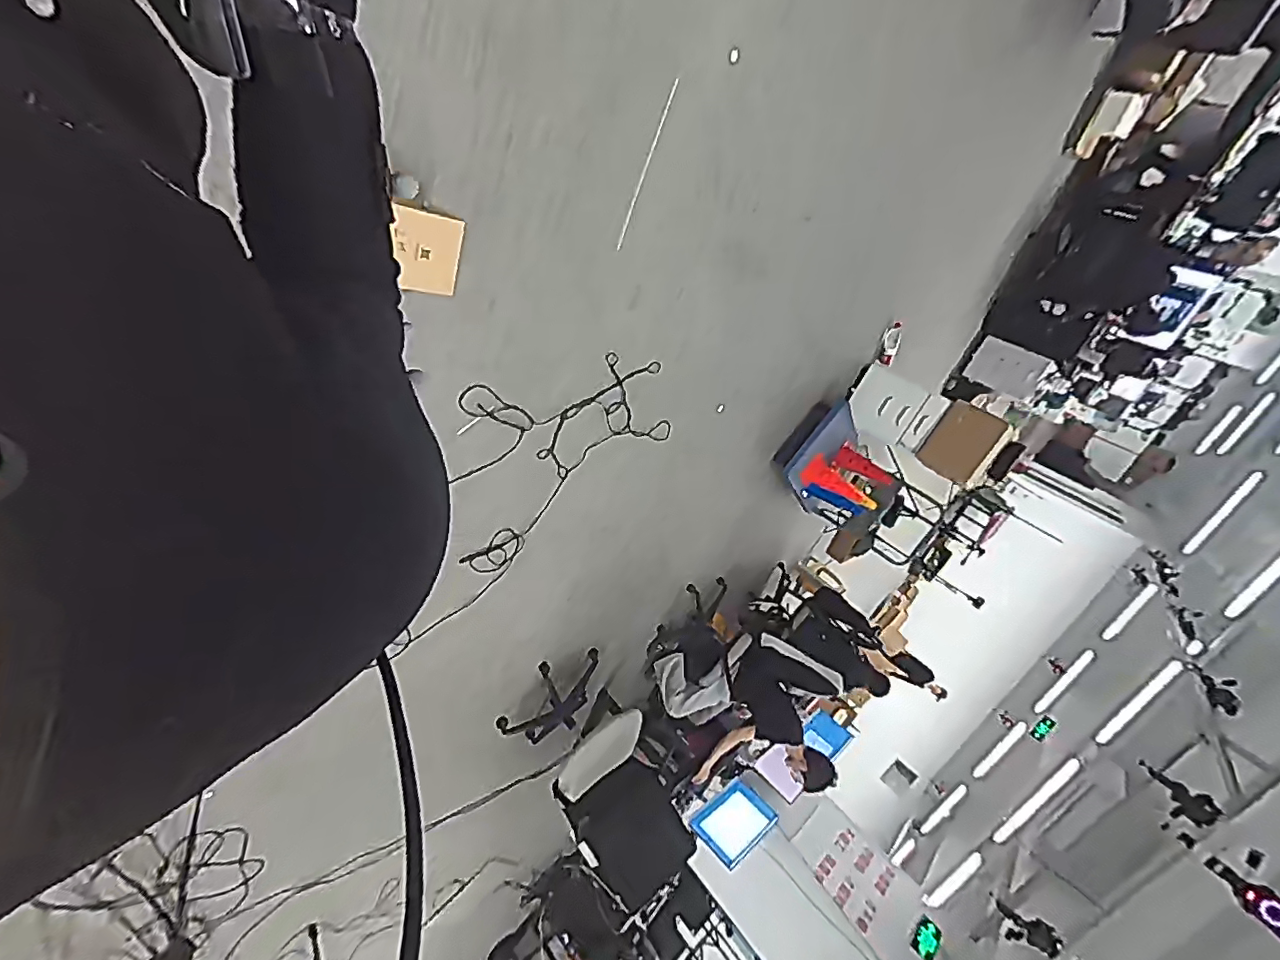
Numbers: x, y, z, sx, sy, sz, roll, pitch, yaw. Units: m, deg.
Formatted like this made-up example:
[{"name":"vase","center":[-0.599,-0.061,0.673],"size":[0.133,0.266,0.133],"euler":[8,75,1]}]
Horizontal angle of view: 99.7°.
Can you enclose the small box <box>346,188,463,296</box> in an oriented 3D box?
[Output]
[{"name":"small box","center":[-0.524,-0.527,1.199],"size":[0.179,0.176,0.168],"euler":[-9,127,-46]}]
